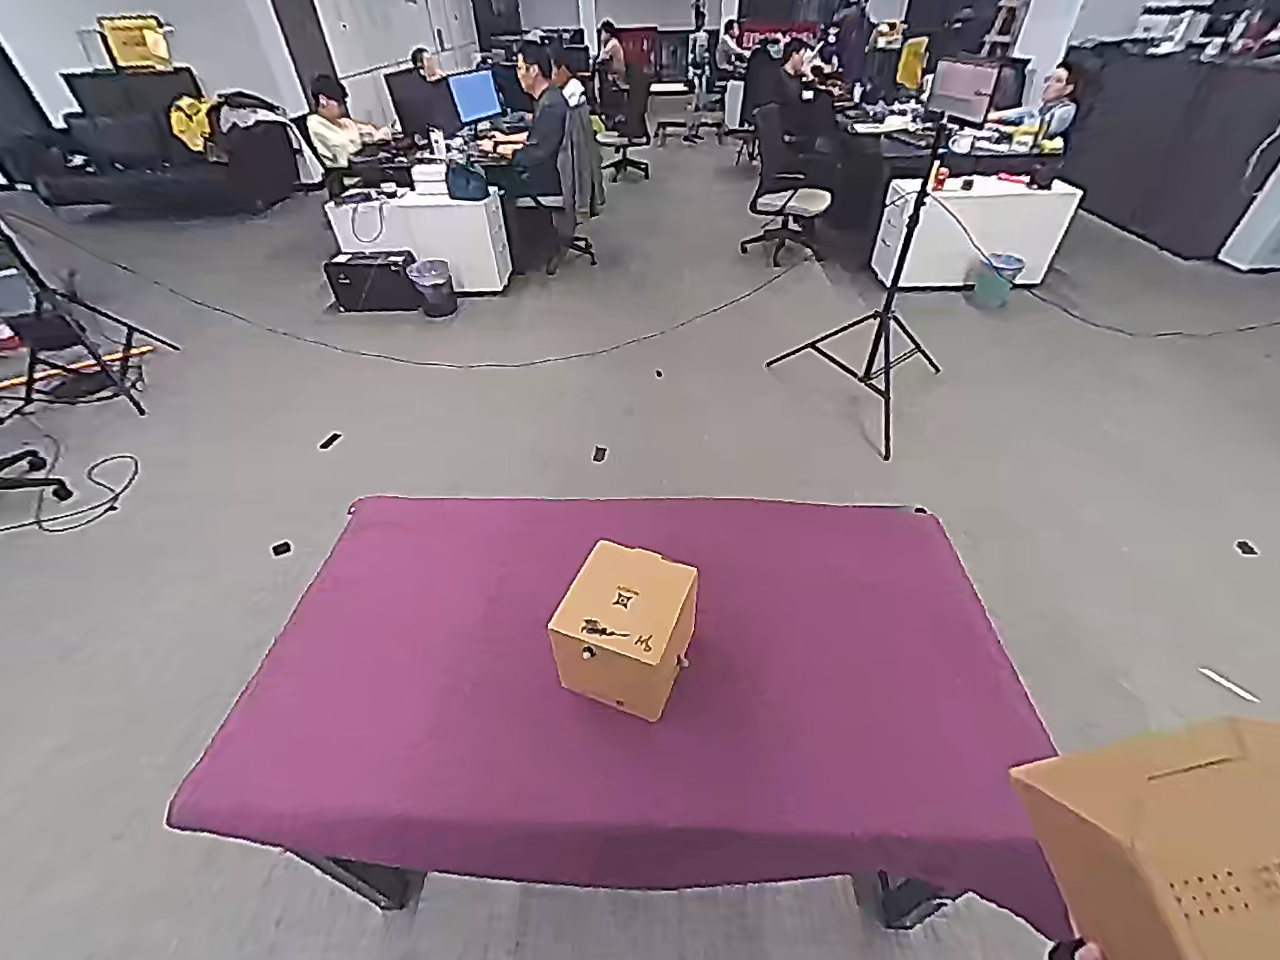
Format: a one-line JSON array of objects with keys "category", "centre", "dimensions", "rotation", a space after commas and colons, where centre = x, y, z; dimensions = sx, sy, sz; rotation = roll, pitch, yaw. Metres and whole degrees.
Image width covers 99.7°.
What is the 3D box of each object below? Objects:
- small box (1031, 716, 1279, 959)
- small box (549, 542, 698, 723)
[{"category": "small box", "centre": [0.364, 0.245, 0.299], "dimensions": [0.168, 0.179, 0.176], "rotation": [-19, 70, 10]}, {"category": "small box", "centre": [-0.019, 0.229, 0.825], "dimensions": [0.168, 0.176, 0.179], "rotation": [14, 43, 18]}]
